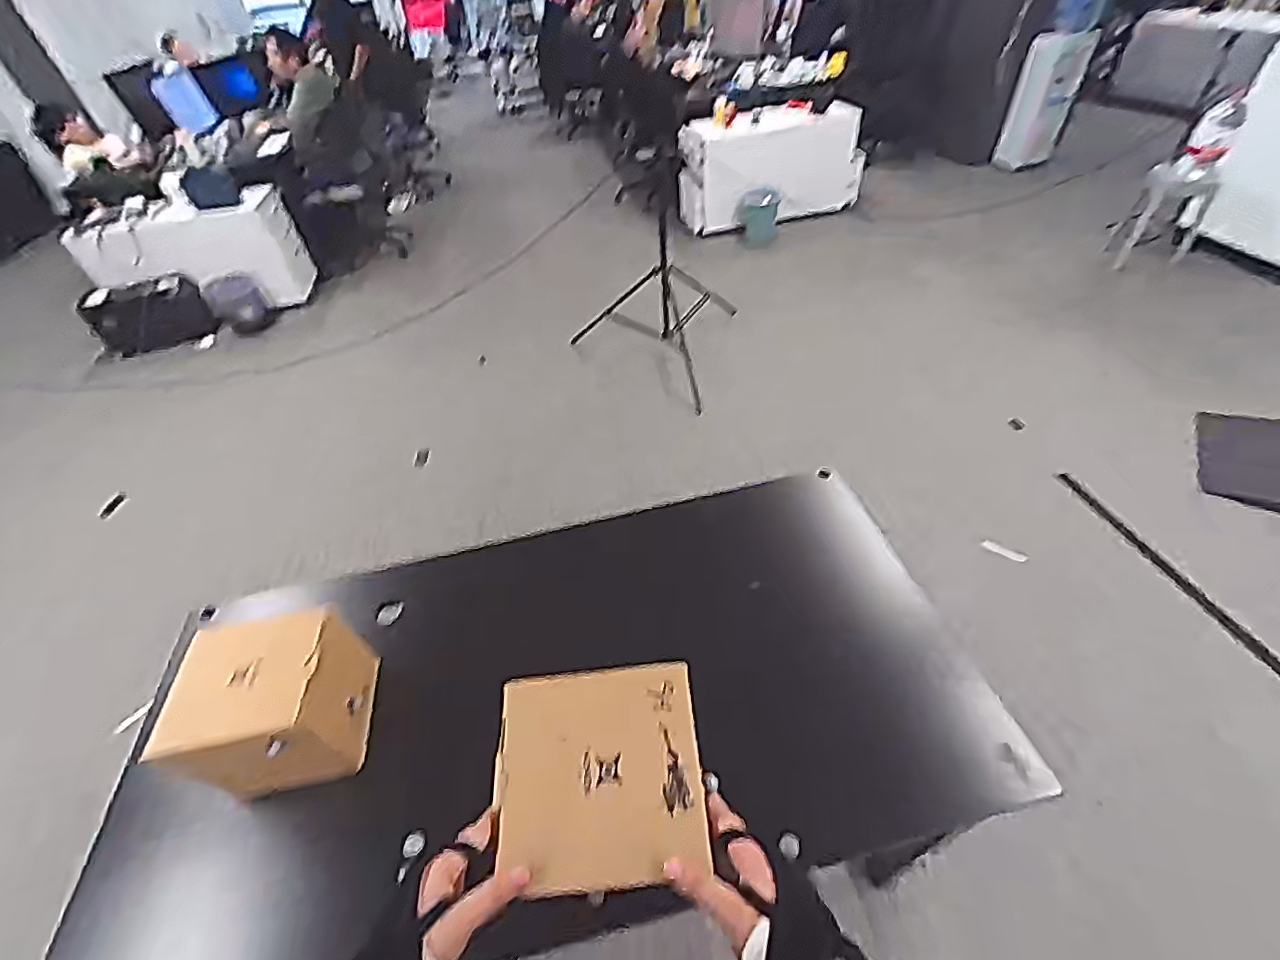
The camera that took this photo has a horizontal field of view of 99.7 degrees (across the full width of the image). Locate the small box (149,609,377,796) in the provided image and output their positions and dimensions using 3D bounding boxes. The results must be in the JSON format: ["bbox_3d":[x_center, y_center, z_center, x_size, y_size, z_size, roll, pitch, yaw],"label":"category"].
[{"bbox_3d":[-0.492,0.307,0.742,0.179,0.176,0.168,-11,45,-6],"label":"small box"}]

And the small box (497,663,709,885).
[{"bbox_3d":[-0.027,0.297,0.541,0.179,0.176,0.168,-7,55,2],"label":"small box"}]
